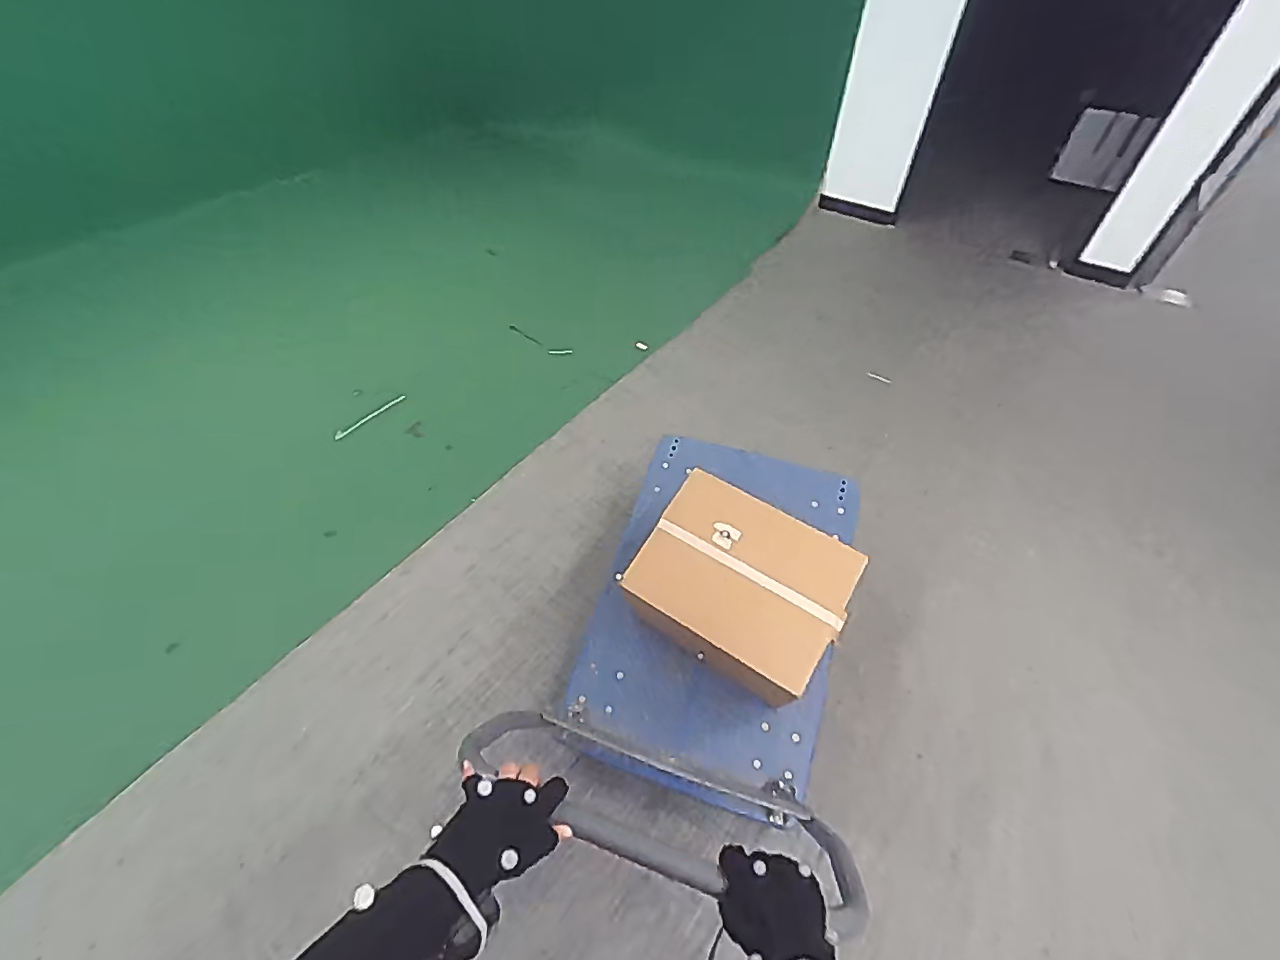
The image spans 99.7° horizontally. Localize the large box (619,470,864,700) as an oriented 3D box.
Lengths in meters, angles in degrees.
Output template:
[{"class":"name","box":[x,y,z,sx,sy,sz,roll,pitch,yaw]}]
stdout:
[{"class":"large box","box":[0.221,0.246,1.223,0.408,0.320,0.320,30,71,19]}]
